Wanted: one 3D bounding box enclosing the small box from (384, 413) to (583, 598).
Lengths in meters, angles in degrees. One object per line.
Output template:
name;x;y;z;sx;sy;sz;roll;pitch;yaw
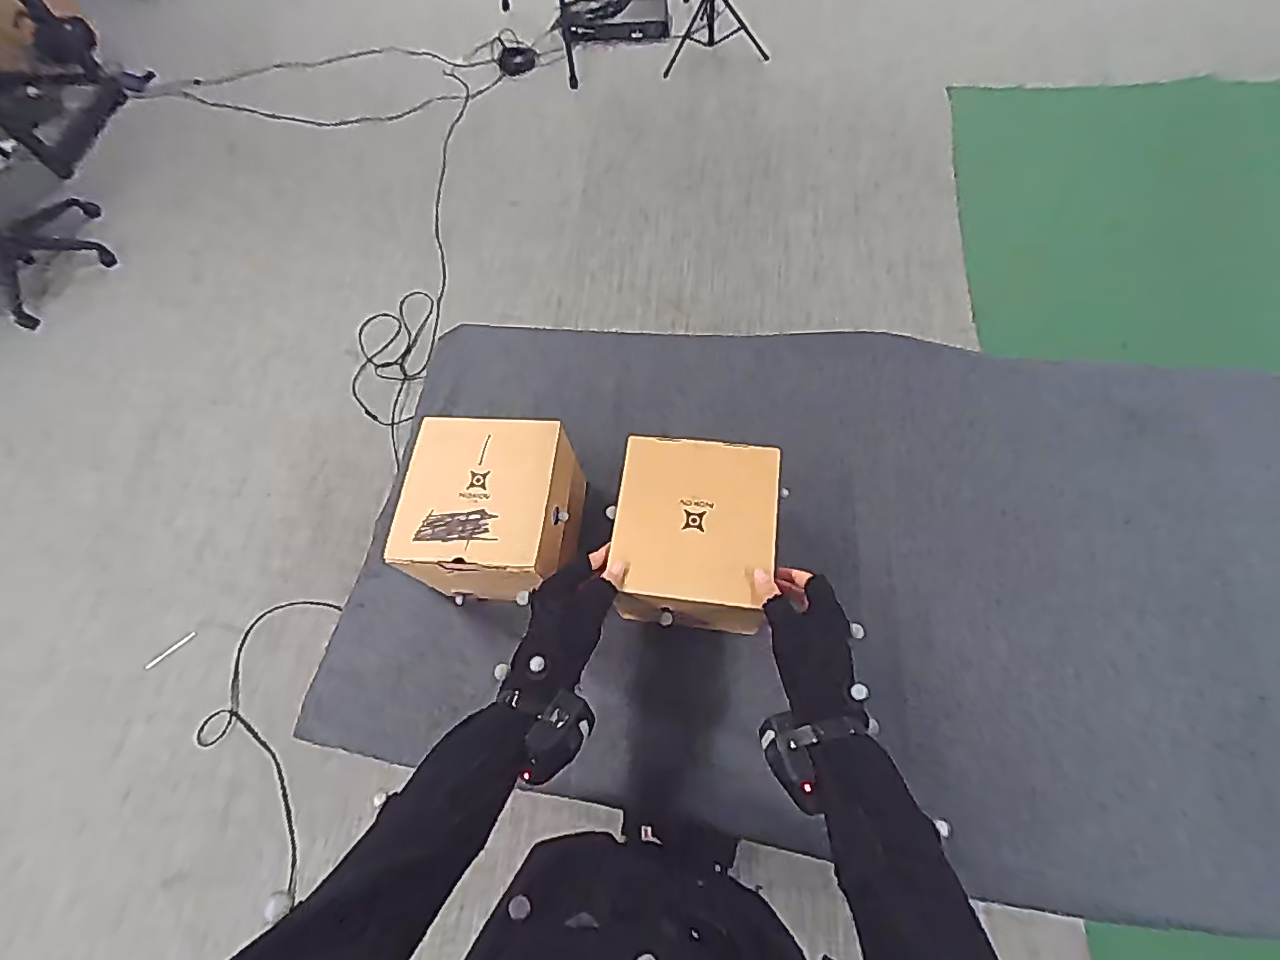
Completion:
small box;-0.170;0.038;0.652;0.168;0.176;0.179;3;65;7

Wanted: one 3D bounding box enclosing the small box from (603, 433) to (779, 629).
small box;0.063;0.066;0.619;0.168;0.176;0.179;5;66;8
